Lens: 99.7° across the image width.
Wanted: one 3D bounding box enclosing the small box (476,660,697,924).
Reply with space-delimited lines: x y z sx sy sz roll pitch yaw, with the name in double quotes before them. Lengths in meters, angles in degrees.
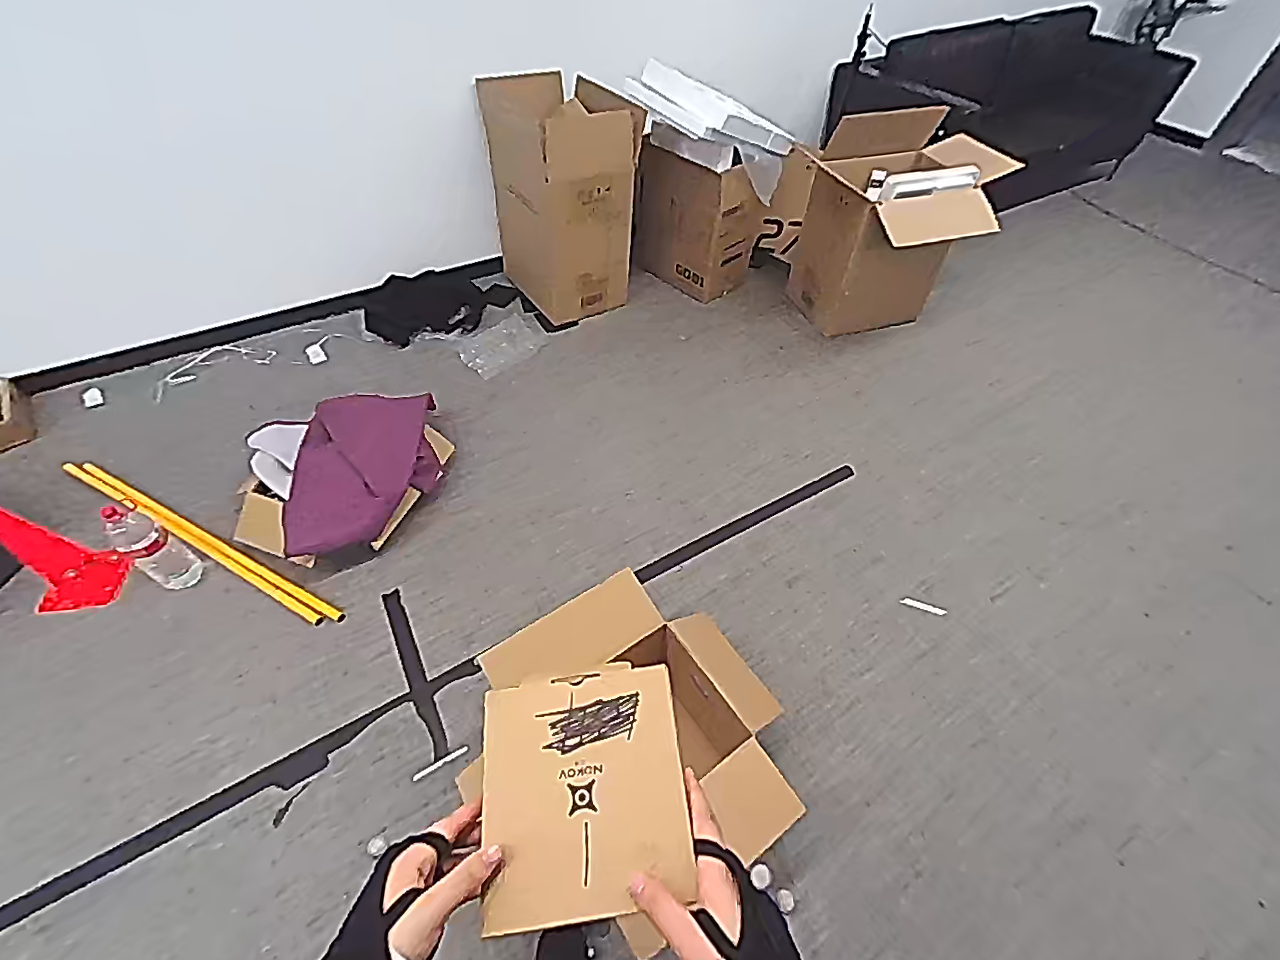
"small box" -0.044 0.291 0.509 0.168 0.176 0.179 -9 54 -1
